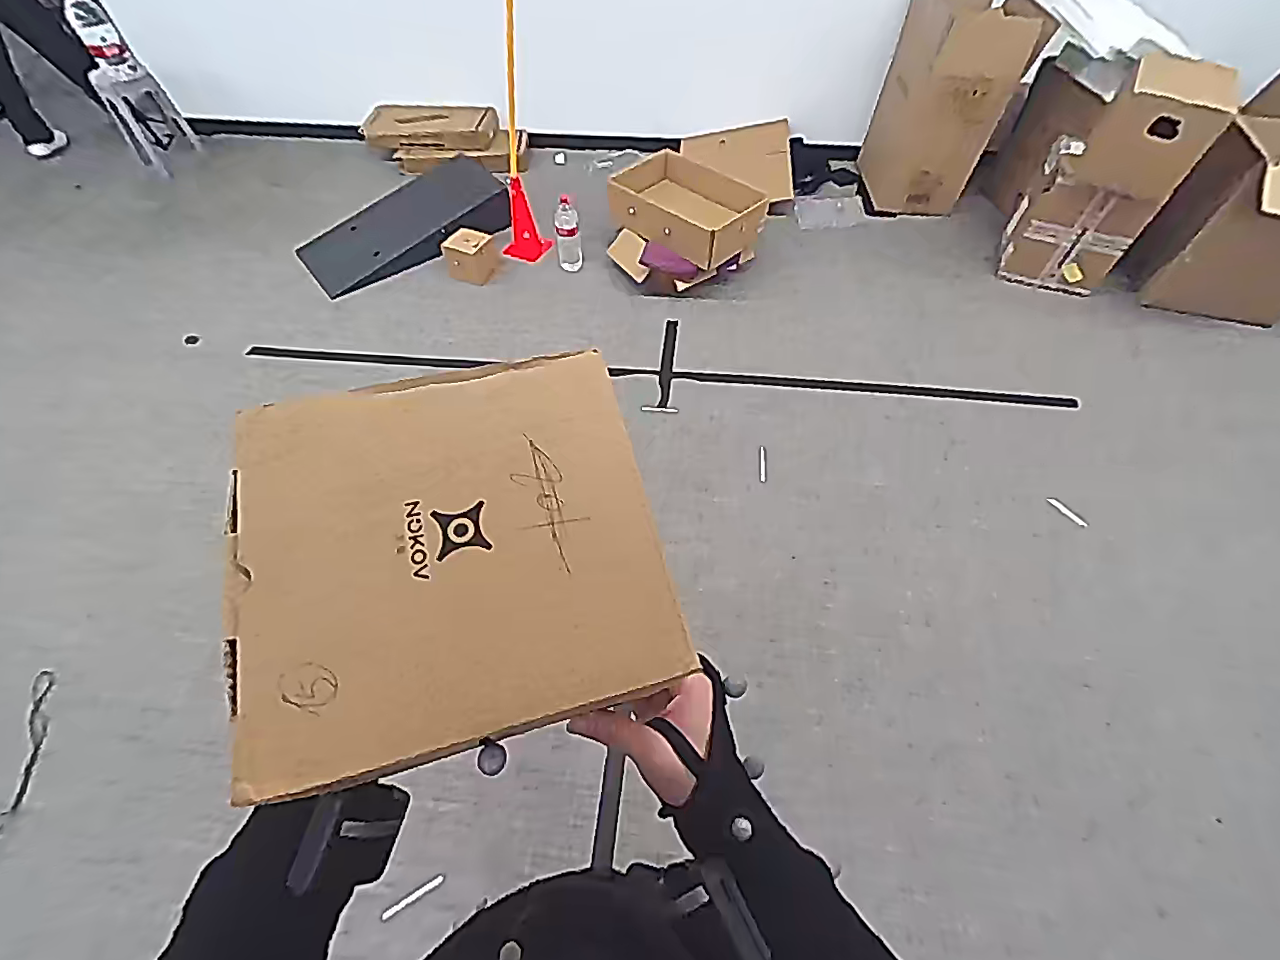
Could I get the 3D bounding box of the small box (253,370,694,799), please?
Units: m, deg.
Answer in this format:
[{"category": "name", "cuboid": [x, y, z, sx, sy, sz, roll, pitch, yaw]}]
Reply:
[{"category": "small box", "cuboid": [-0.087, 0.063, 0.317, 0.179, 0.176, 0.168, -13, 69, -12]}]
